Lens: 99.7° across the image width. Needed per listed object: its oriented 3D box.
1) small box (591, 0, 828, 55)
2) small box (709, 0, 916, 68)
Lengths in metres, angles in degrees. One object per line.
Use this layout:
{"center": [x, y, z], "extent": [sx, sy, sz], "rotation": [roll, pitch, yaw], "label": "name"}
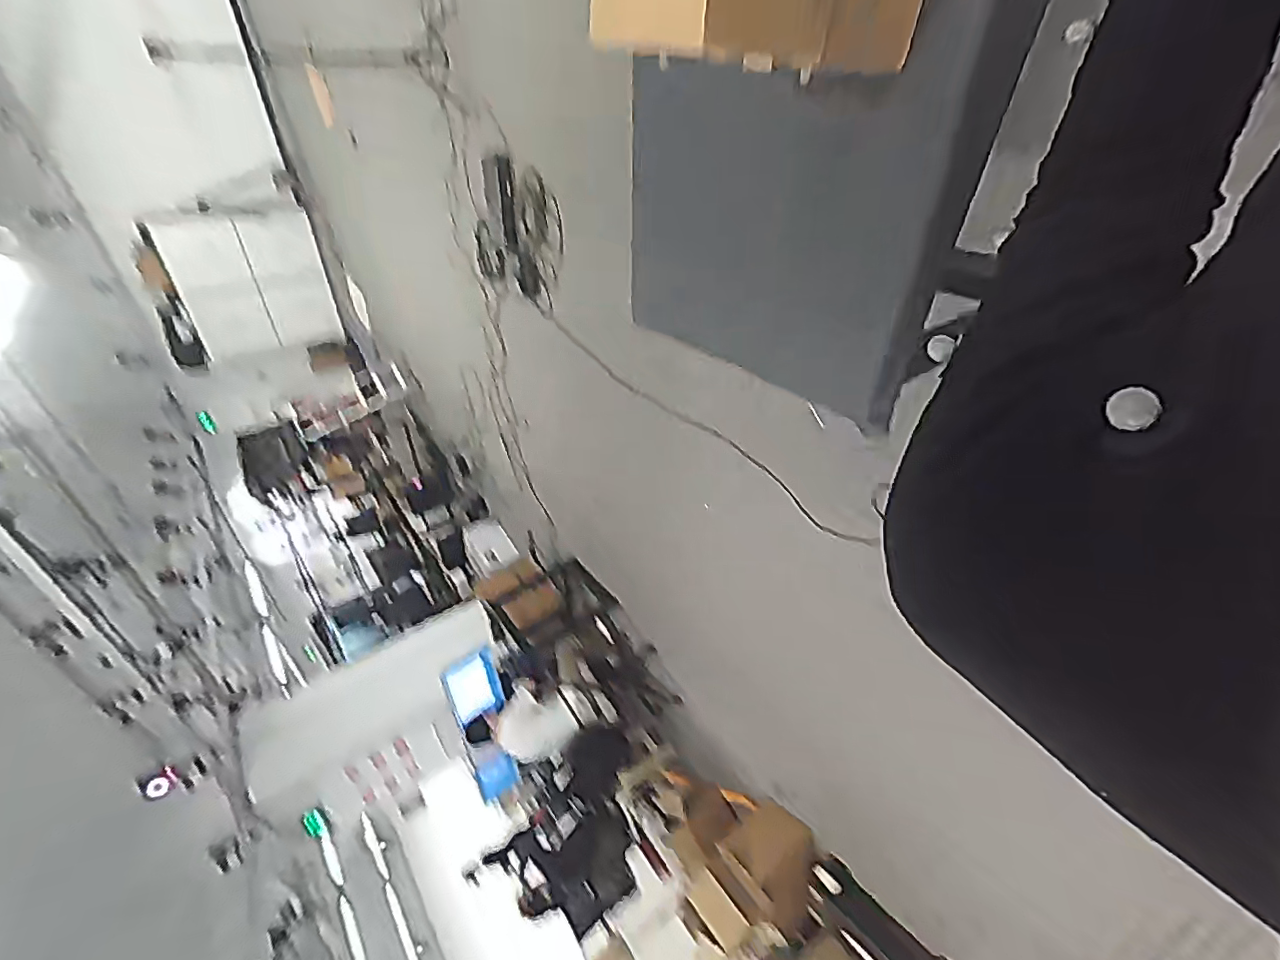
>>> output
{"center": [0.067, -0.508, 0.509], "extent": [0.179, 0.176, 0.168], "rotation": [41, 142, 40], "label": "small box"}
{"center": [0.197, -0.567, 0.590], "extent": [0.168, 0.176, 0.179], "rotation": [41, 144, 37], "label": "small box"}
